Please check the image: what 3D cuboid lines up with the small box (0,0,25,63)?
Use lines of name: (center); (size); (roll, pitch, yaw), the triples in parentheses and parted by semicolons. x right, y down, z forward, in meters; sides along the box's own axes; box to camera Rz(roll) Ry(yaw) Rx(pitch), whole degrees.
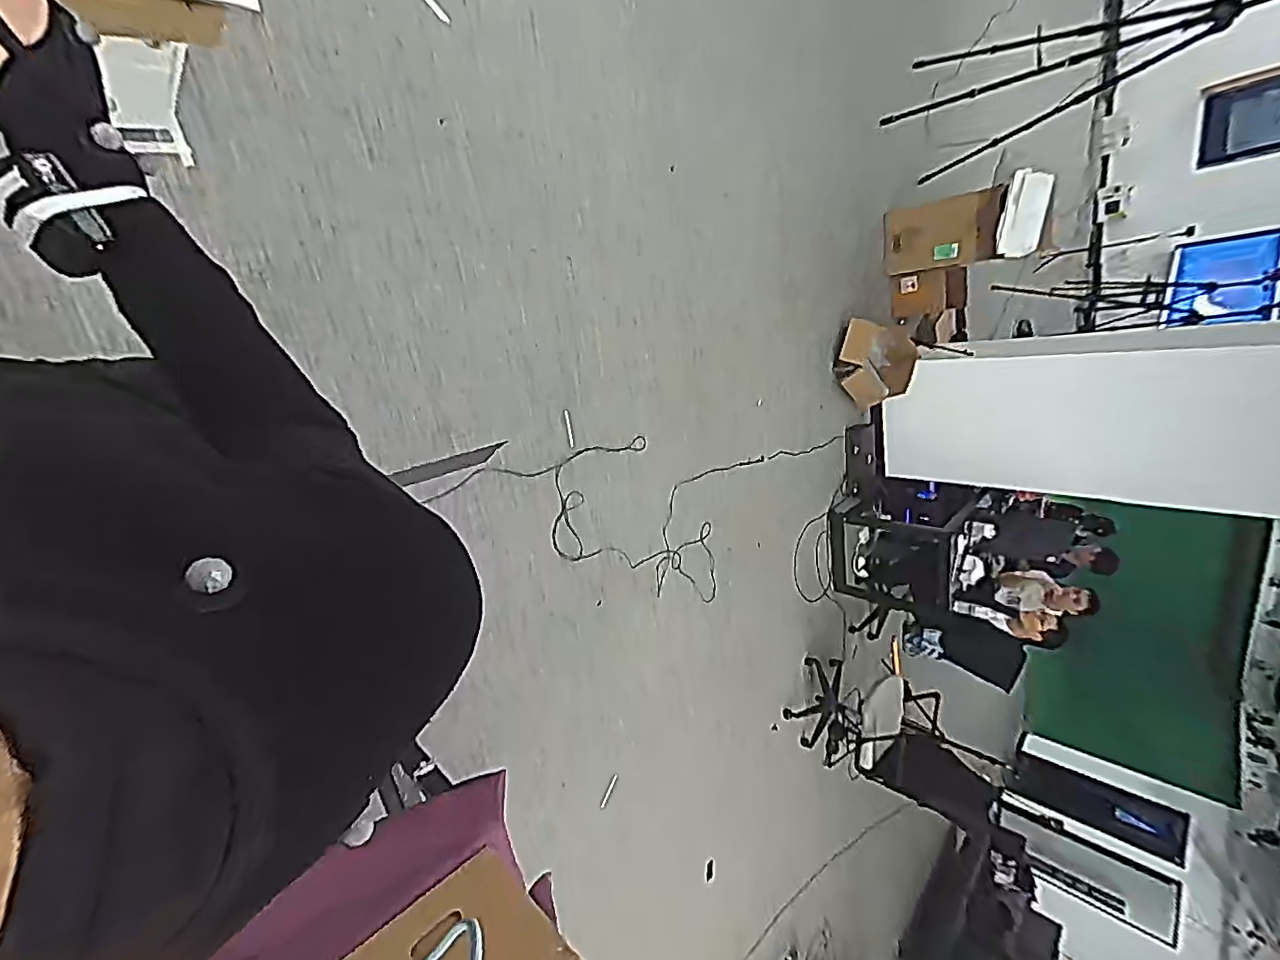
small box: (-0.528, -0.392, 0.328); (0.168, 0.176, 0.179); (-18, 121, -39)
